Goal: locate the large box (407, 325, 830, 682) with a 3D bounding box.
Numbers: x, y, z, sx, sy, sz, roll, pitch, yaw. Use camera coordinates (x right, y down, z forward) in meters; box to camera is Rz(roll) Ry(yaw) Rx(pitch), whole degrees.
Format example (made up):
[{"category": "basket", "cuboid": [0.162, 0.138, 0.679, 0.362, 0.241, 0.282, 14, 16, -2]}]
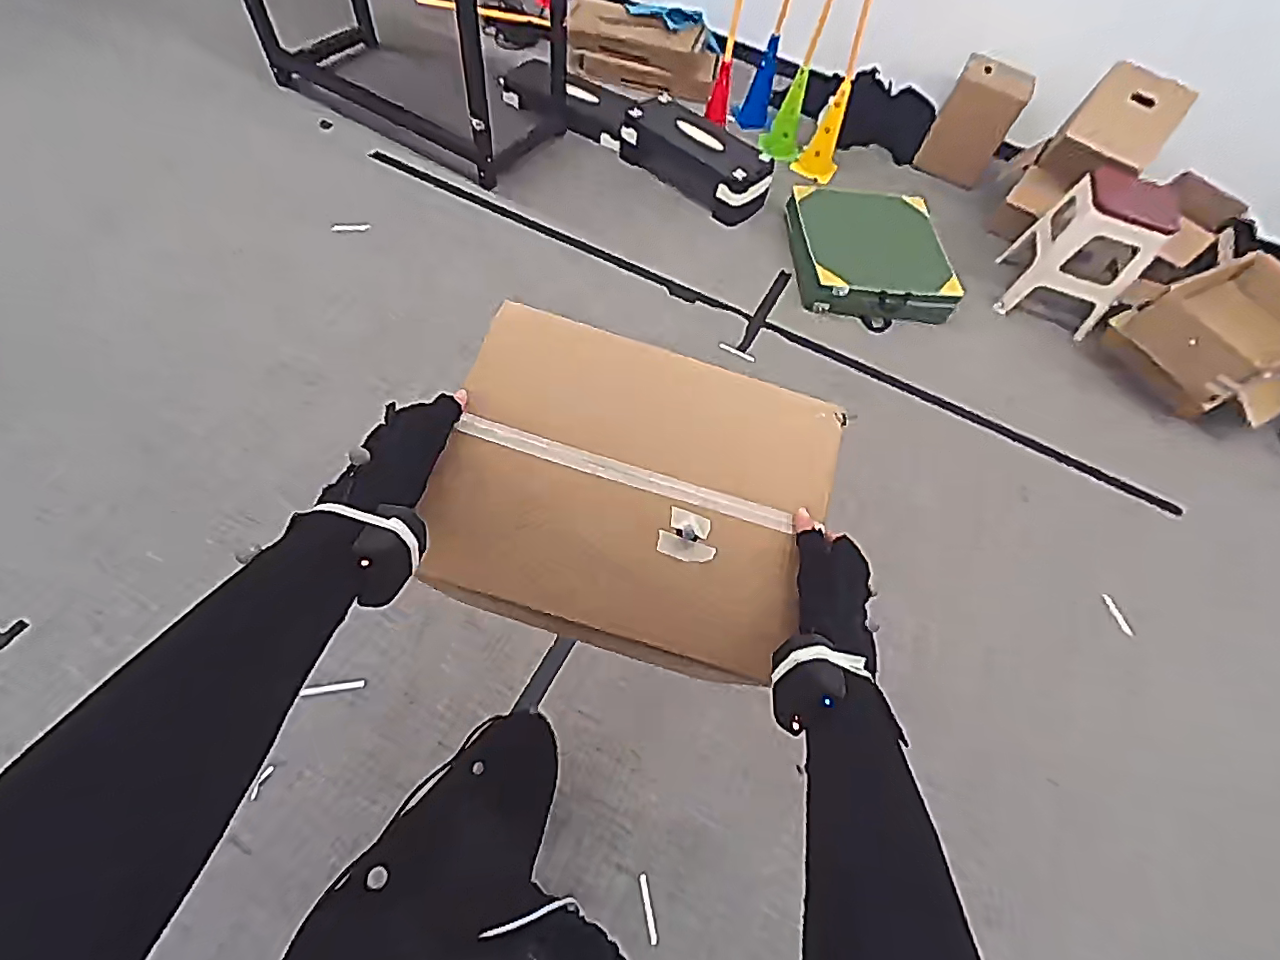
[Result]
[{"category": "large box", "cuboid": [-0.022, 0.058, 0.723, 0.408, 0.320, 0.320, 18, 70, -2]}]
